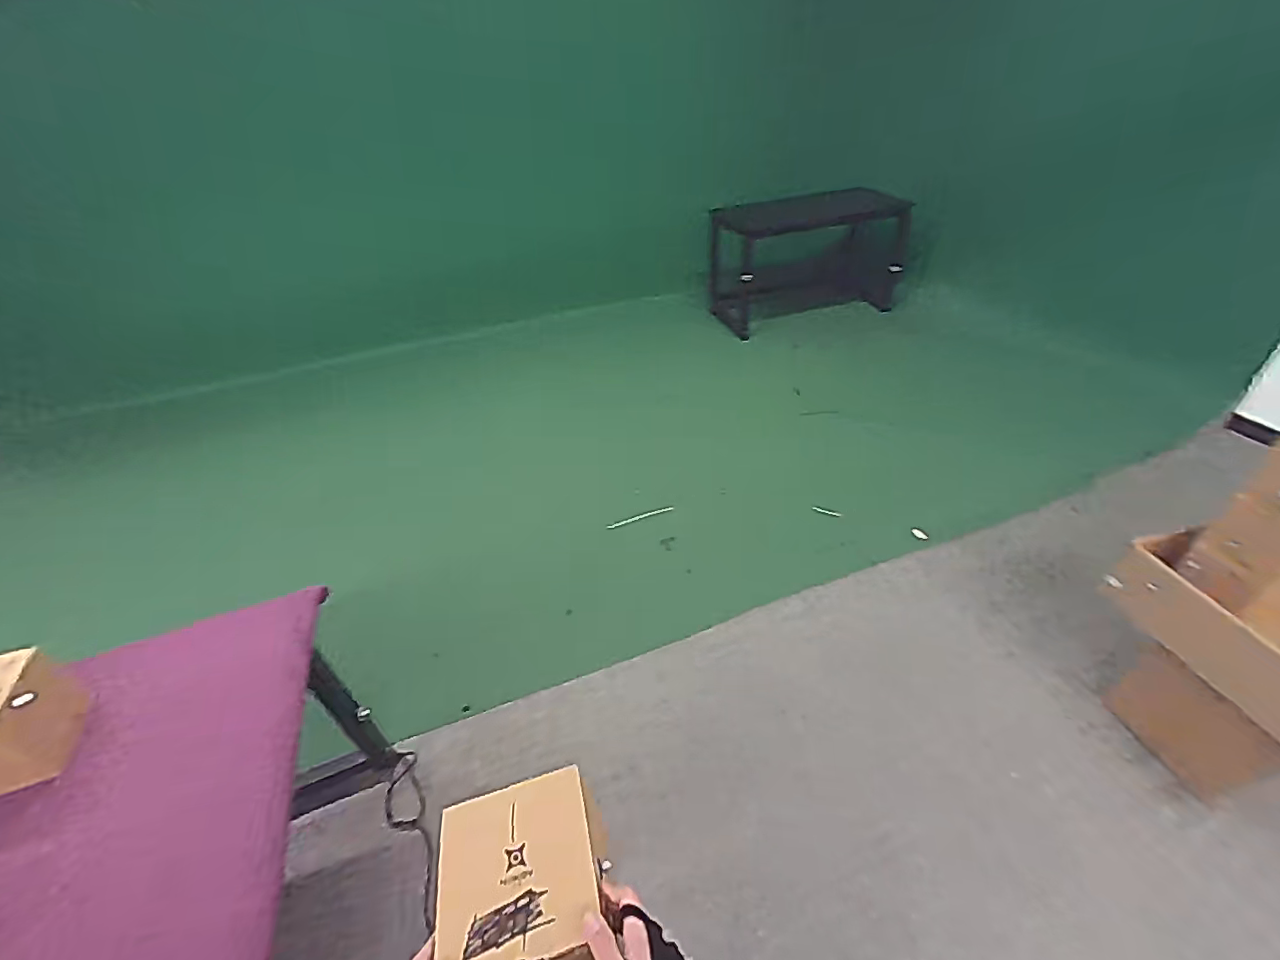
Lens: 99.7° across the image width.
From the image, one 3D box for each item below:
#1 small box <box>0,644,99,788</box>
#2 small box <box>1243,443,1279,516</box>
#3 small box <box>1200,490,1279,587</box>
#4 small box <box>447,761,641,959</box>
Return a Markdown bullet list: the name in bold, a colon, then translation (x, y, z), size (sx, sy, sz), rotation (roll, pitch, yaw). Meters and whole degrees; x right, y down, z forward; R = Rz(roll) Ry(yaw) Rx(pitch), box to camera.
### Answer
- **small box**: translation (-1.123, 0.424, 0.939), size (0.179, 0.176, 0.168), rotation (-16, 41, -13)
- **small box**: translation (1.493, -0.004, 1.166), size (0.179, 0.176, 0.168), rotation (-10, 38, -6)
- **small box**: translation (1.500, 0.126, 1.268), size (0.179, 0.176, 0.168), rotation (-11, 39, -7)
- **small box**: translation (-0.104, 0.466, 0.615), size (0.168, 0.176, 0.179), rotation (-15, 35, -6)
